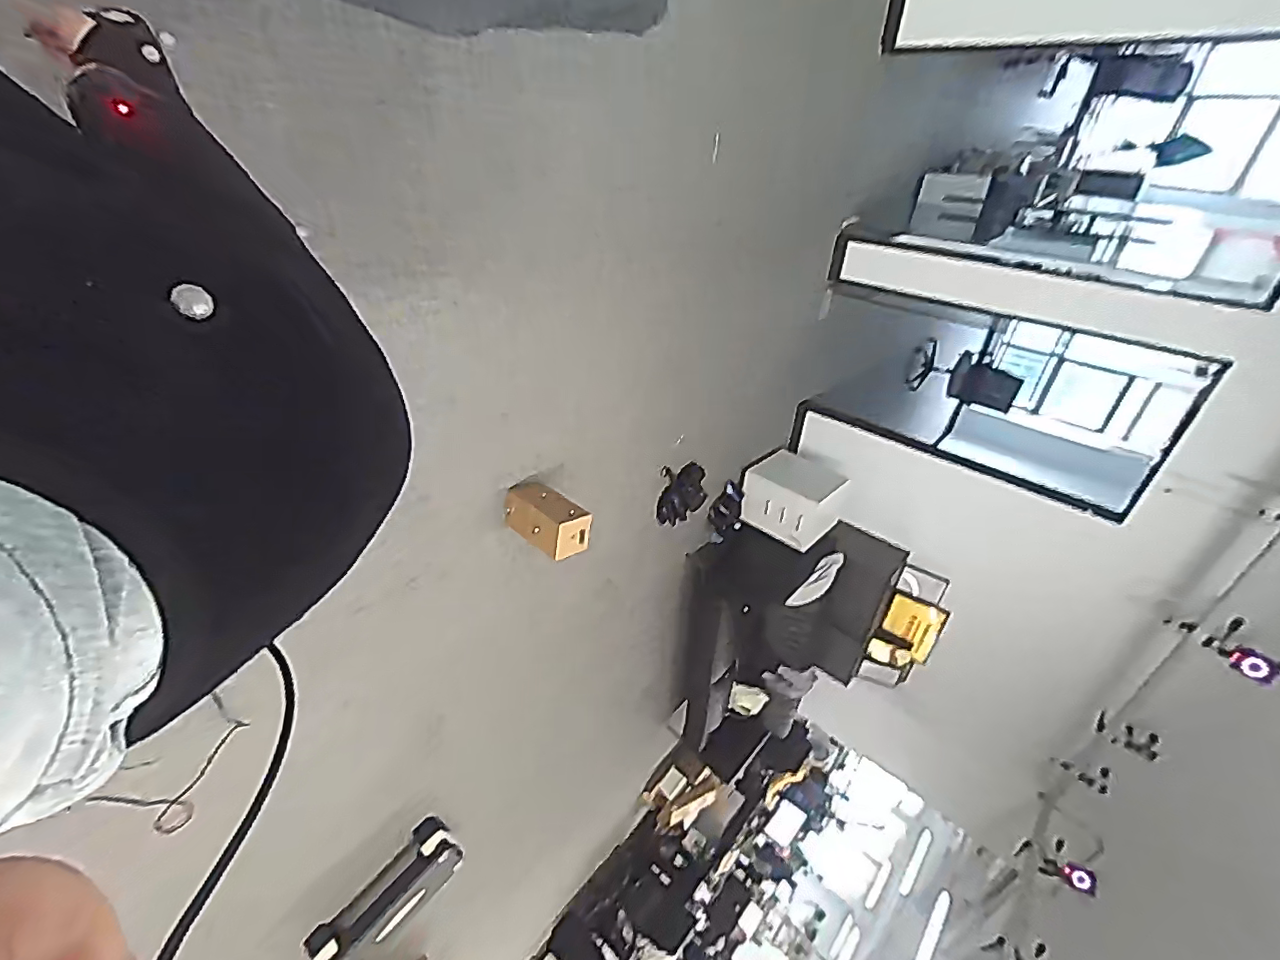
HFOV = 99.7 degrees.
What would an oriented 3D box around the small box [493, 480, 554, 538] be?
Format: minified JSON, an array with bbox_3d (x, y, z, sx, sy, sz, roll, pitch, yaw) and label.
[{"bbox_3d":[-0.489,0.115,2.268,0.179,0.176,0.168,-19,127,-47],"label":"small box"}]

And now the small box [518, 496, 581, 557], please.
[{"bbox_3d":[-0.365,0.180,2.182,0.179,0.176,0.168,-18,126,-48],"label":"small box"}]
